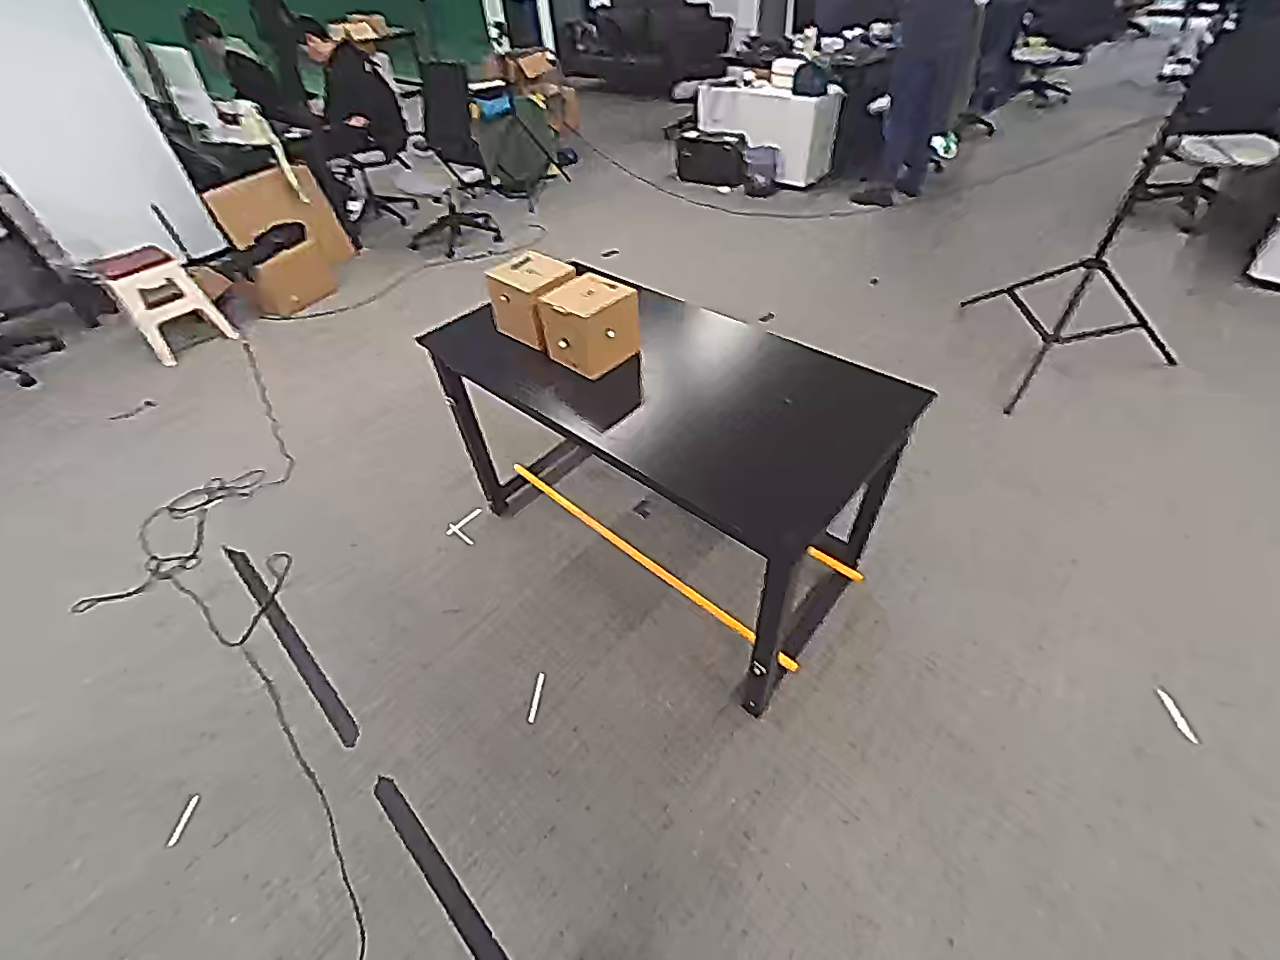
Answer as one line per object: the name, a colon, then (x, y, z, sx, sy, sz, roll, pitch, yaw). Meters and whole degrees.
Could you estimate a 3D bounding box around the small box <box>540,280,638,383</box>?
small box: (-0.119, -0.370, 1.356, 0.168, 0.176, 0.179, 32, 56, 31)

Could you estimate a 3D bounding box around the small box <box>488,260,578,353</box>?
small box: (-0.279, -0.467, 1.464, 0.179, 0.176, 0.168, 30, 55, 28)
